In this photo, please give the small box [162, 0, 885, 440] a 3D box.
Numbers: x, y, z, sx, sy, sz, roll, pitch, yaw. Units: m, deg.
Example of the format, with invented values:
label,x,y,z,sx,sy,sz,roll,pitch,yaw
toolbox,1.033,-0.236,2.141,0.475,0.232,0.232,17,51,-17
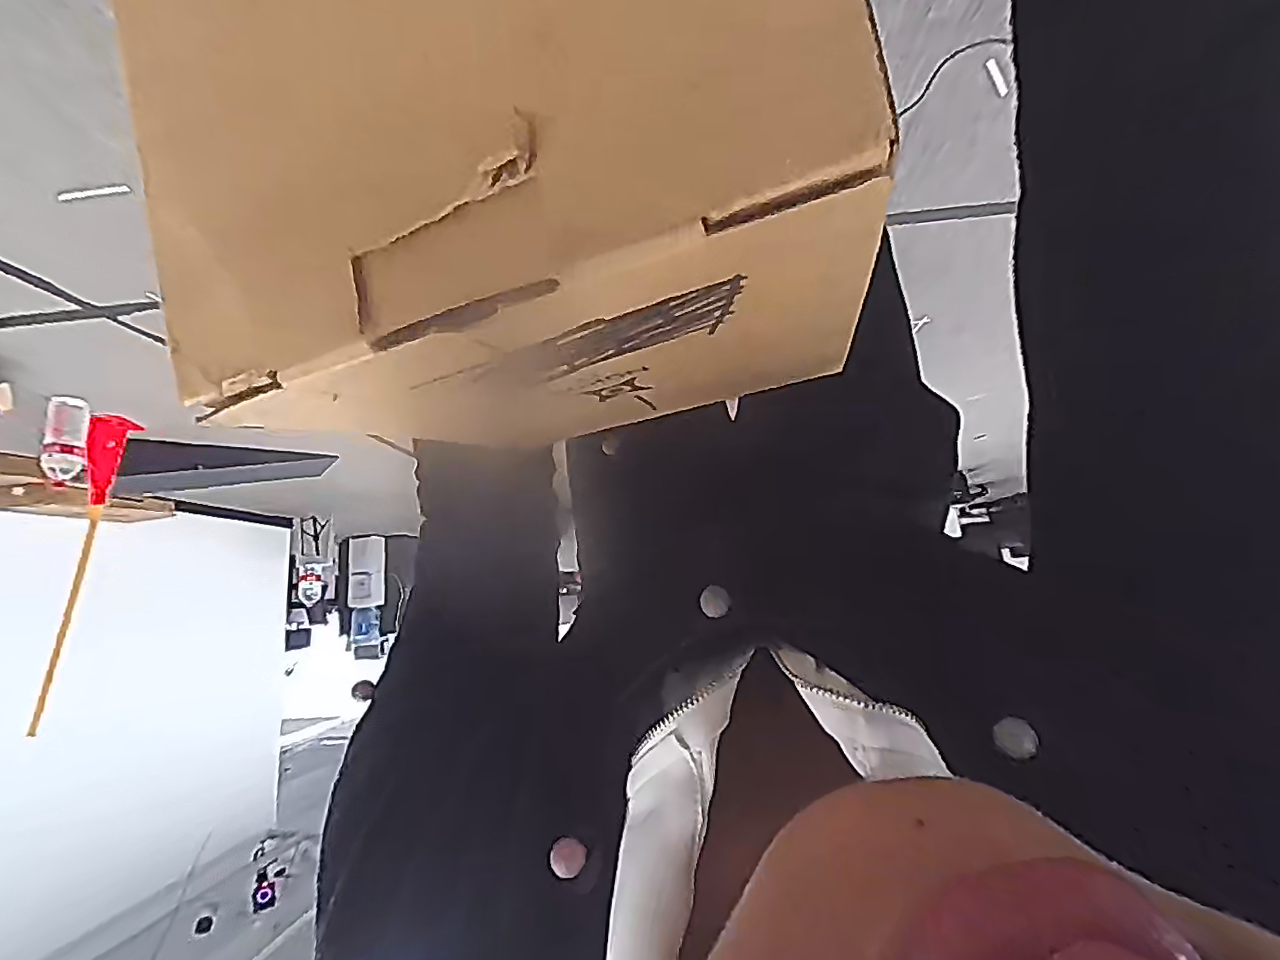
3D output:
label,x,y,z,sx,sy,sz,roll,pitch,yaw
small box,-0.027,-0.120,0.197,0.168,0.176,0.179,-12,178,17
